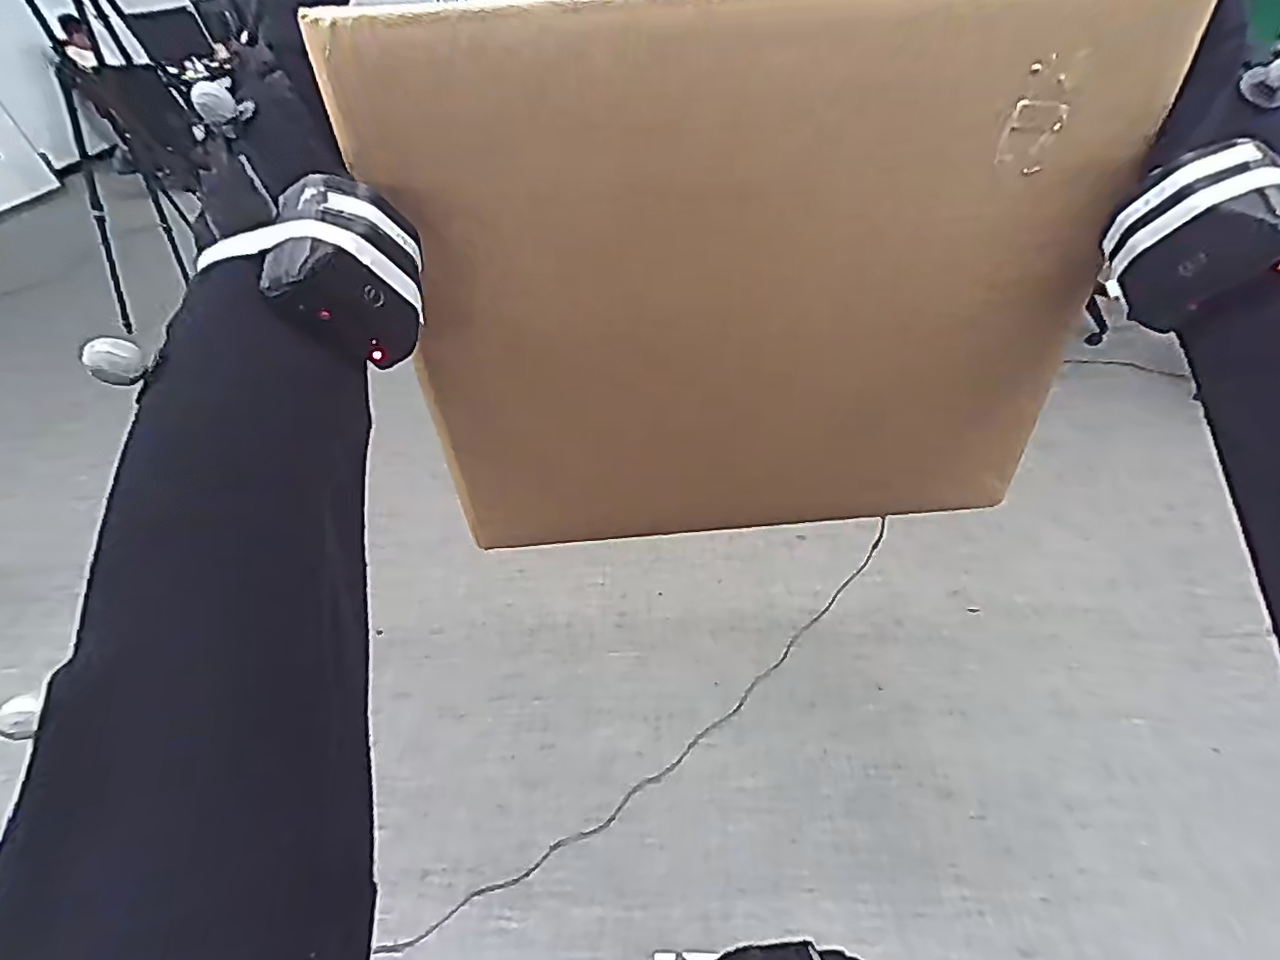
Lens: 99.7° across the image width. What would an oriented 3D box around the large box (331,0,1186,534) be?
[{"bbox_3d":[0.056,-0.180,0.446,0.408,0.320,0.320,-4,37,-1],"label":"large box"}]
